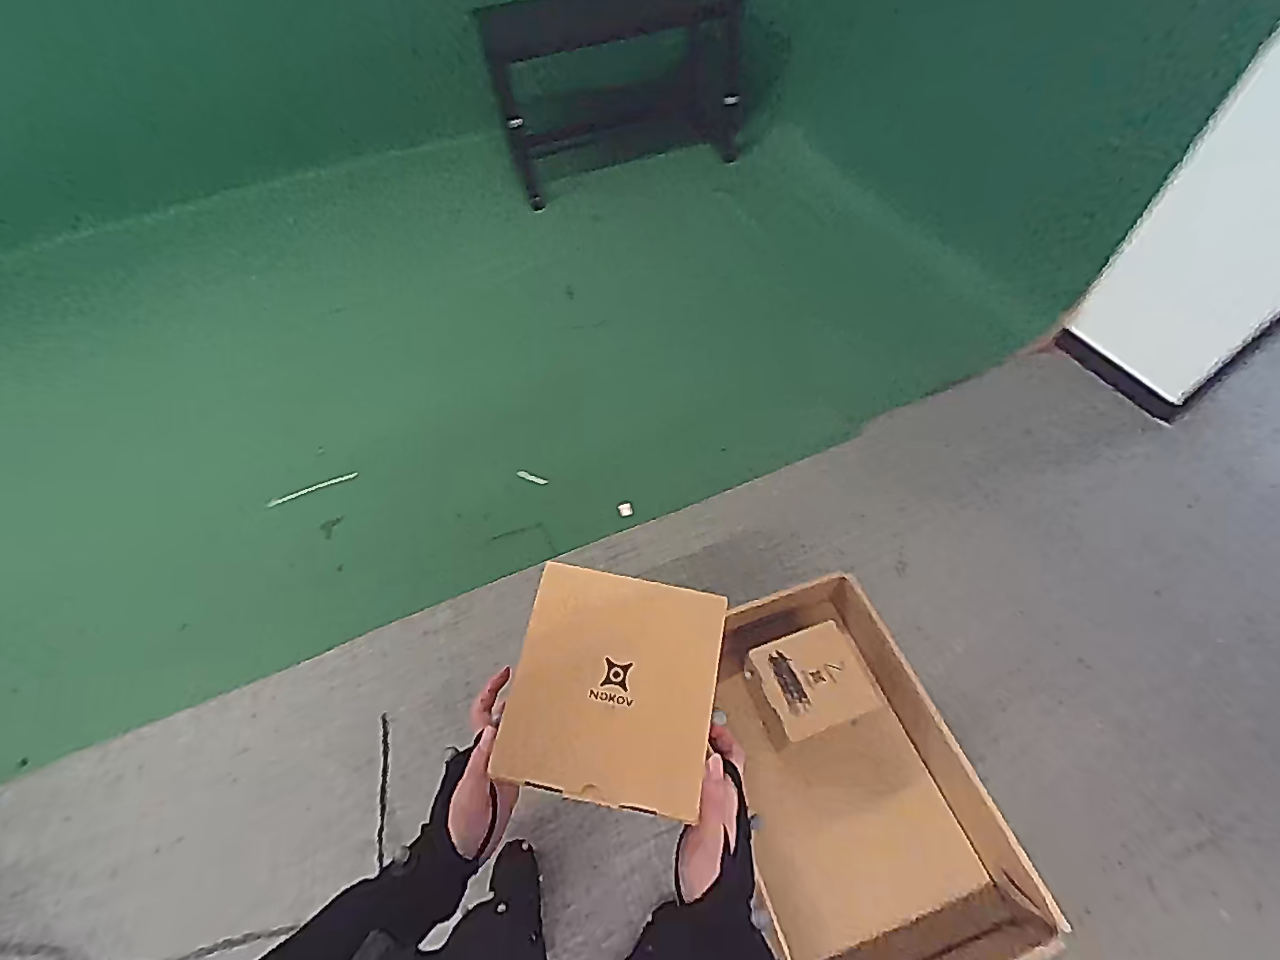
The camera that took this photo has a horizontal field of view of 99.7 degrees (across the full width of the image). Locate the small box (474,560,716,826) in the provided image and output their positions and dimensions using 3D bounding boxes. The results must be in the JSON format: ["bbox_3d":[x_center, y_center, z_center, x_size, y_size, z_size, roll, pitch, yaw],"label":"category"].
[{"bbox_3d":[-0.033,0.194,0.506,0.168,0.176,0.179,10,66,3],"label":"small box"}]
